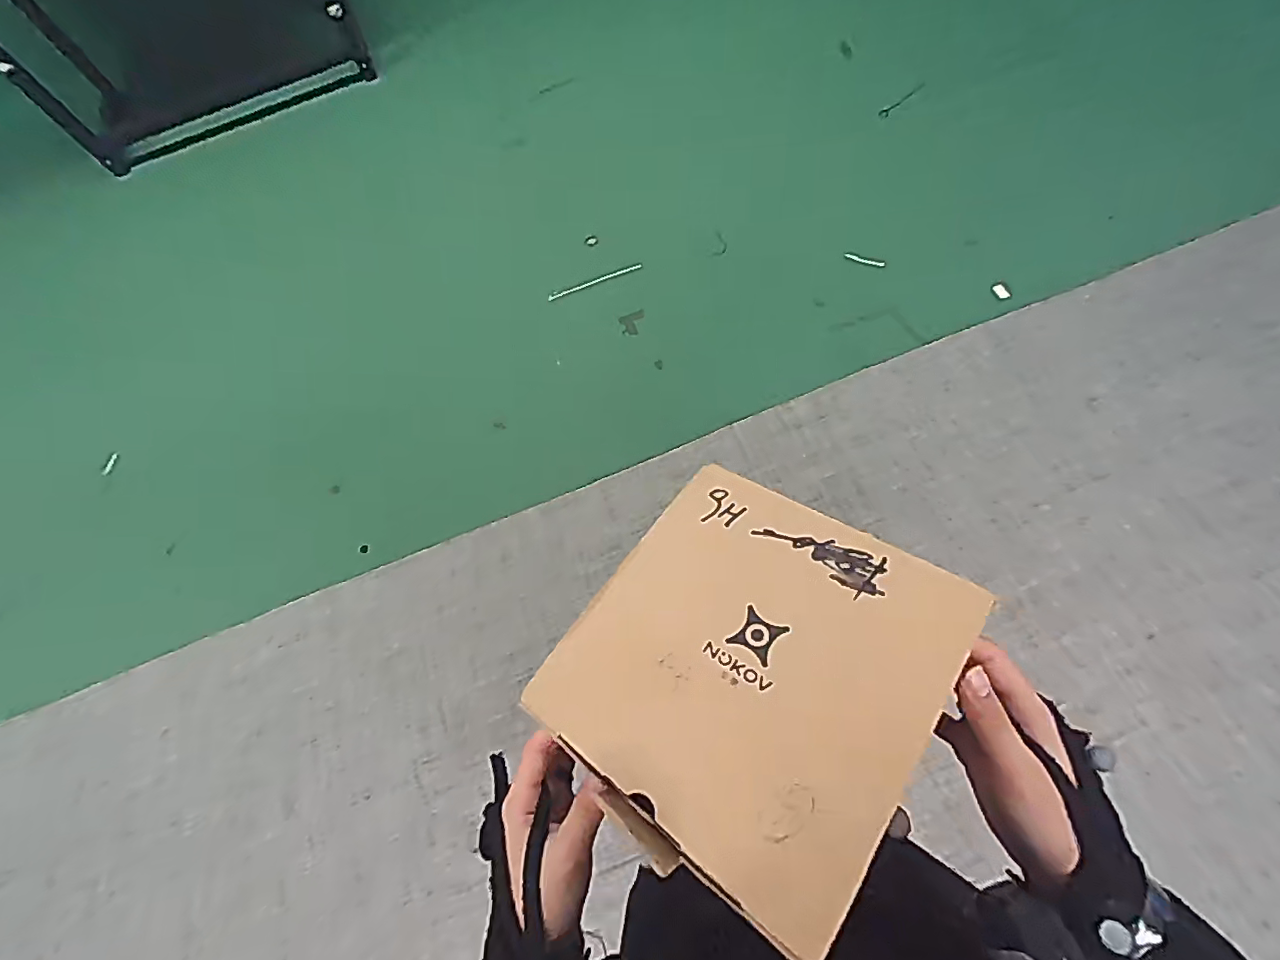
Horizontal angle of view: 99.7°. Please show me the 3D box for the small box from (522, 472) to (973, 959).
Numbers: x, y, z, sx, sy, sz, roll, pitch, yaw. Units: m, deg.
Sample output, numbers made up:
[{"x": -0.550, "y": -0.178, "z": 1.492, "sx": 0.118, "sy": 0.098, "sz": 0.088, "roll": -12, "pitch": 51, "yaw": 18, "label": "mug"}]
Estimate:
[{"x": 0.068, "y": 0.133, "z": 0.333, "sx": 0.168, "sy": 0.176, "sz": 0.179, "roll": 27, "pitch": 67, "yaw": 31, "label": "small box"}]
